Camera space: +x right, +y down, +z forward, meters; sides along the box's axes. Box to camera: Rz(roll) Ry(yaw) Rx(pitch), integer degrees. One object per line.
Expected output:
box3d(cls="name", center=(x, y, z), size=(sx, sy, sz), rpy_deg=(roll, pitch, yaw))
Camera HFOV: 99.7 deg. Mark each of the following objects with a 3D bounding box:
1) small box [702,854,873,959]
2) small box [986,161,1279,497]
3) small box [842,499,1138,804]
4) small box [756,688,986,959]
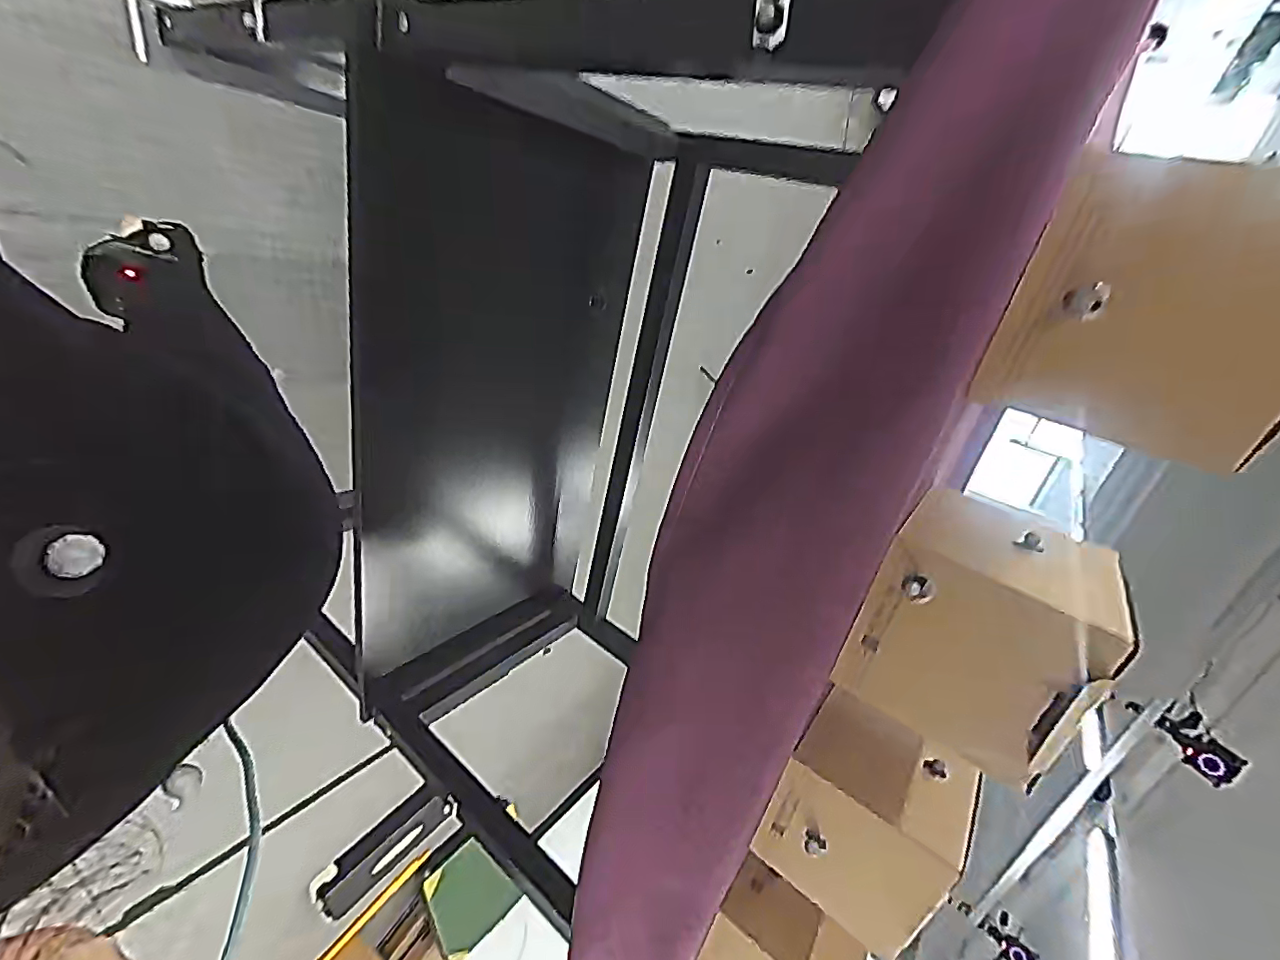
box3d(cls="small box", center=(0.189, 0.626, 0.714), size=(0.168, 0.176, 0.179), rpy_deg=(-19, 128, -53))
box3d(cls="small box", center=(0.383, -0.121, 0.402), size=(0.168, 0.176, 0.179), rpy_deg=(-31, 139, -44))
box3d(cls="small box", center=(0.311, 0.140, 0.506), size=(0.179, 0.176, 0.168), rpy_deg=(-24, 133, -50))
box3d(cls="small box", center=(0.257, 0.372, 0.610), size=(0.179, 0.176, 0.168), rpy_deg=(-23, 132, -50))
